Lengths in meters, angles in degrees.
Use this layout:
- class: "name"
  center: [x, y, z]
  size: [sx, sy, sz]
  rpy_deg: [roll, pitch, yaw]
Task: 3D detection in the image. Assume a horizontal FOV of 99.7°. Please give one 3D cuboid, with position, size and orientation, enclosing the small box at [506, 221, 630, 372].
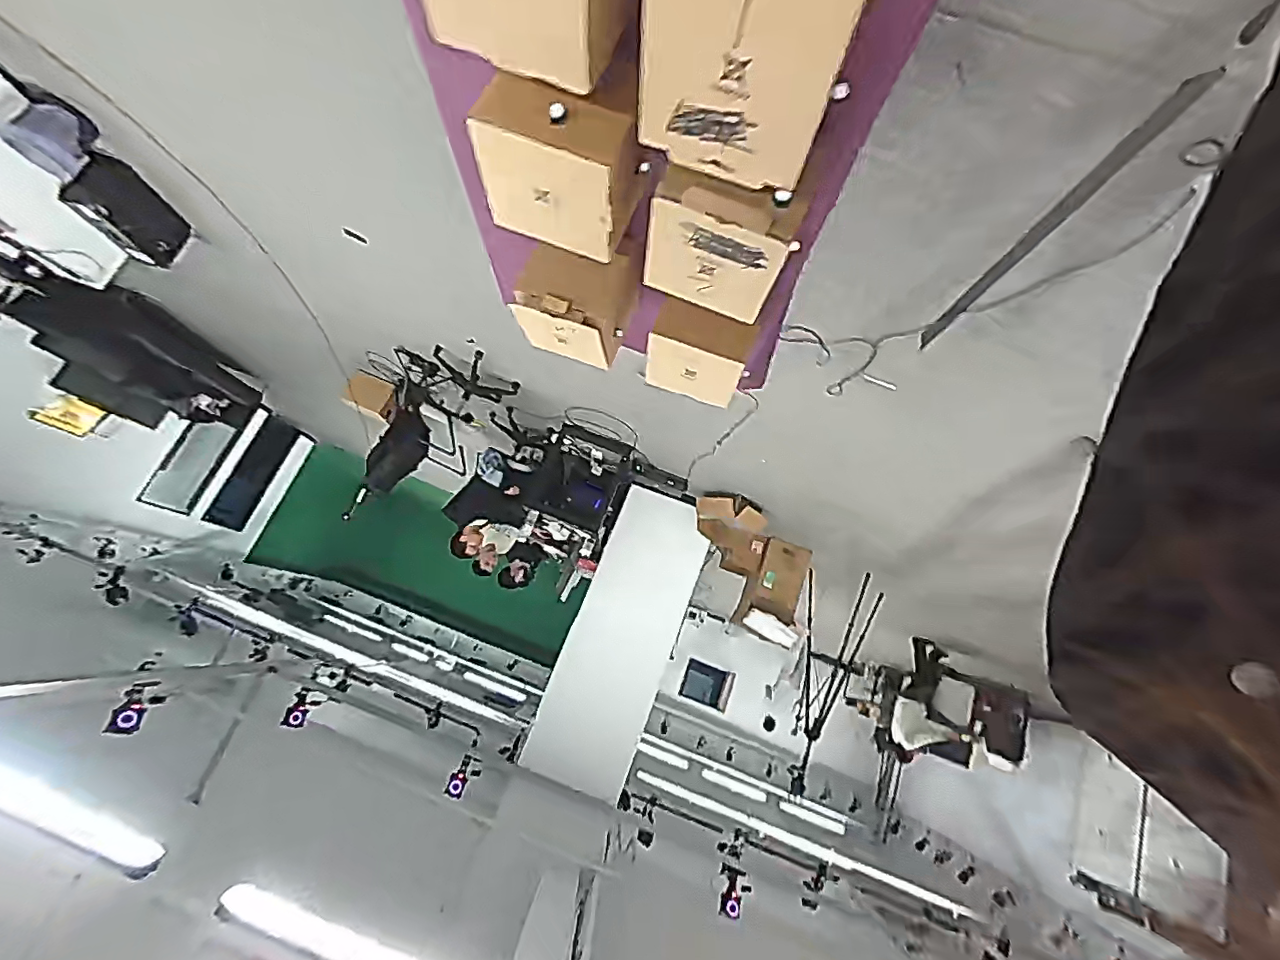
- class: "small box"
  center: [-0.122, -0.334, 1.000]
  size: [0.168, 0.176, 0.179]
  rpy_deg: [19, 163, 6]

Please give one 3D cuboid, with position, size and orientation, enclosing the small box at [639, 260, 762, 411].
- class: "small box"
  center: [0.105, -0.255, 0.972]
  size: [0.168, 0.176, 0.179]
  rpy_deg: [20, 163, 4]
